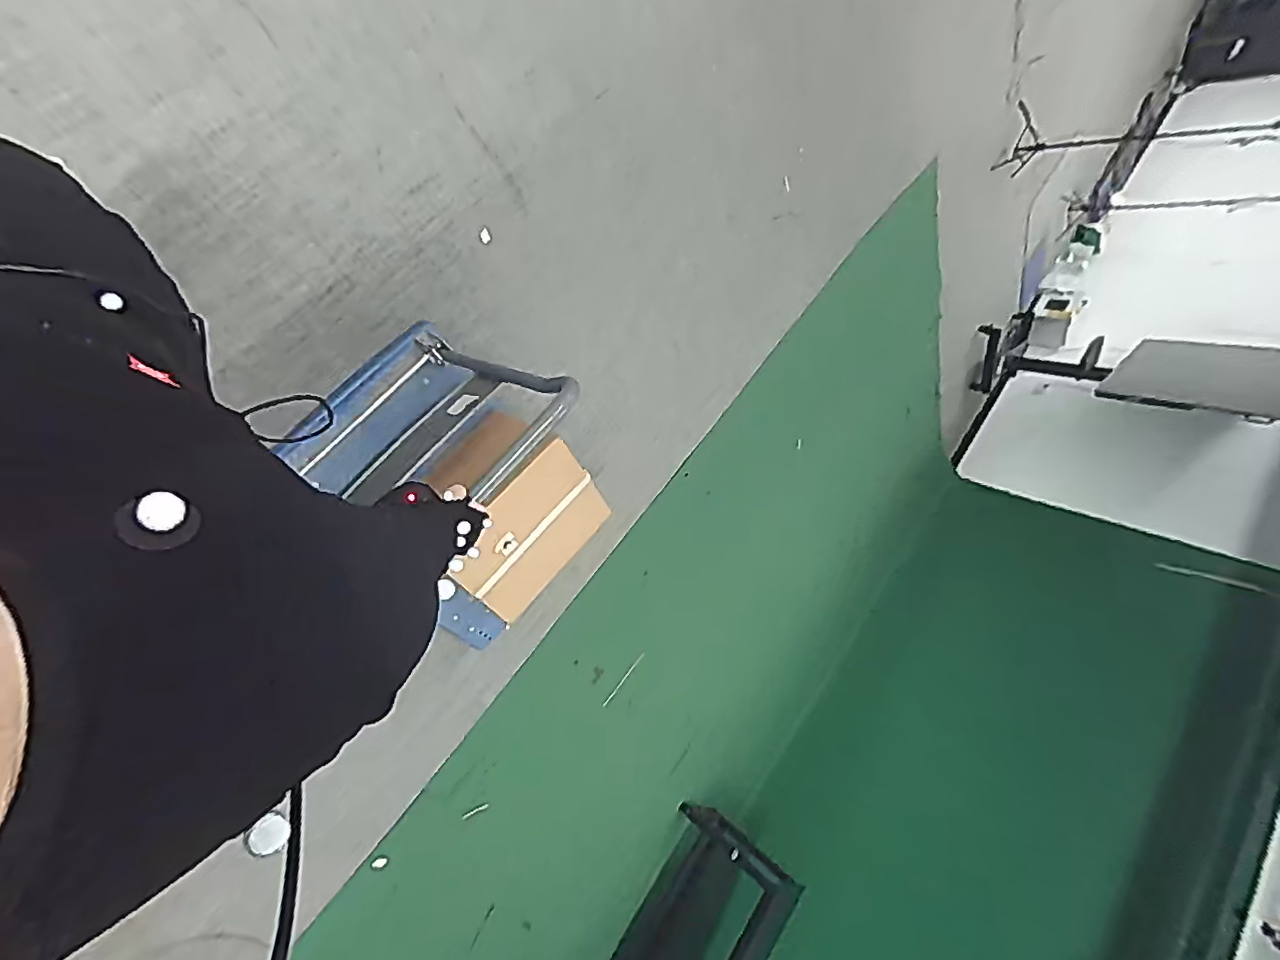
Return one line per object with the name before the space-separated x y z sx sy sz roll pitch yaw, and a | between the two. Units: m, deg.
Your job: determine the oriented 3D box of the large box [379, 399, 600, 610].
large box | -0.388 0.052 1.436 0.408 0.320 0.320 -48 135 -18
